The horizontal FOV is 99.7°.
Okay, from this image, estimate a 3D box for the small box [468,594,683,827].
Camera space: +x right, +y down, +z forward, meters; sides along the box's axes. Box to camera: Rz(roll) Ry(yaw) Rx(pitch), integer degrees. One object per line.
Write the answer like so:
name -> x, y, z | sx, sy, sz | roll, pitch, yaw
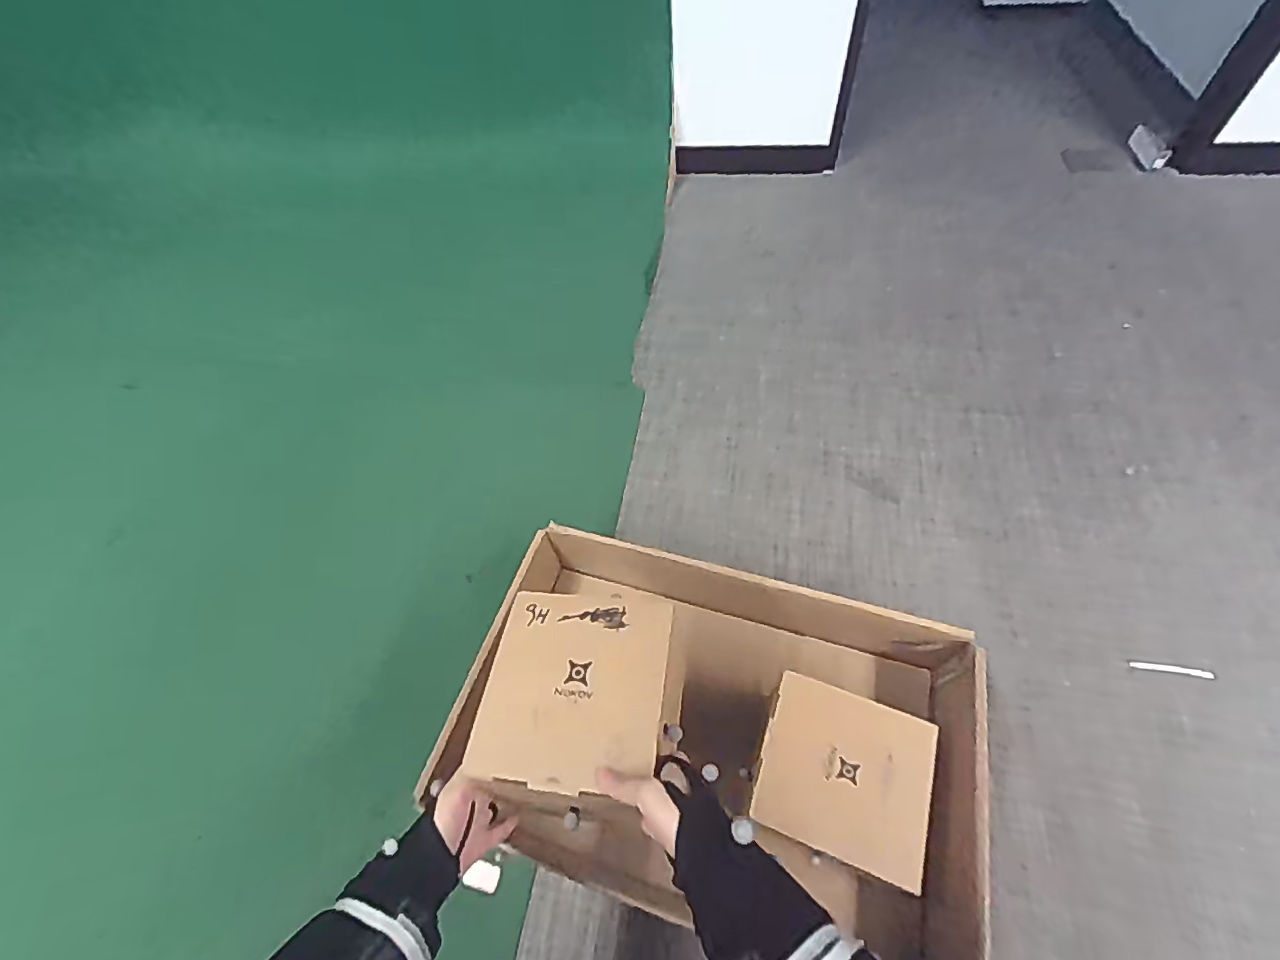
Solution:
small box -> -0.047, 0.241, 0.559 | 0.168, 0.176, 0.179 | 3, 52, 10
